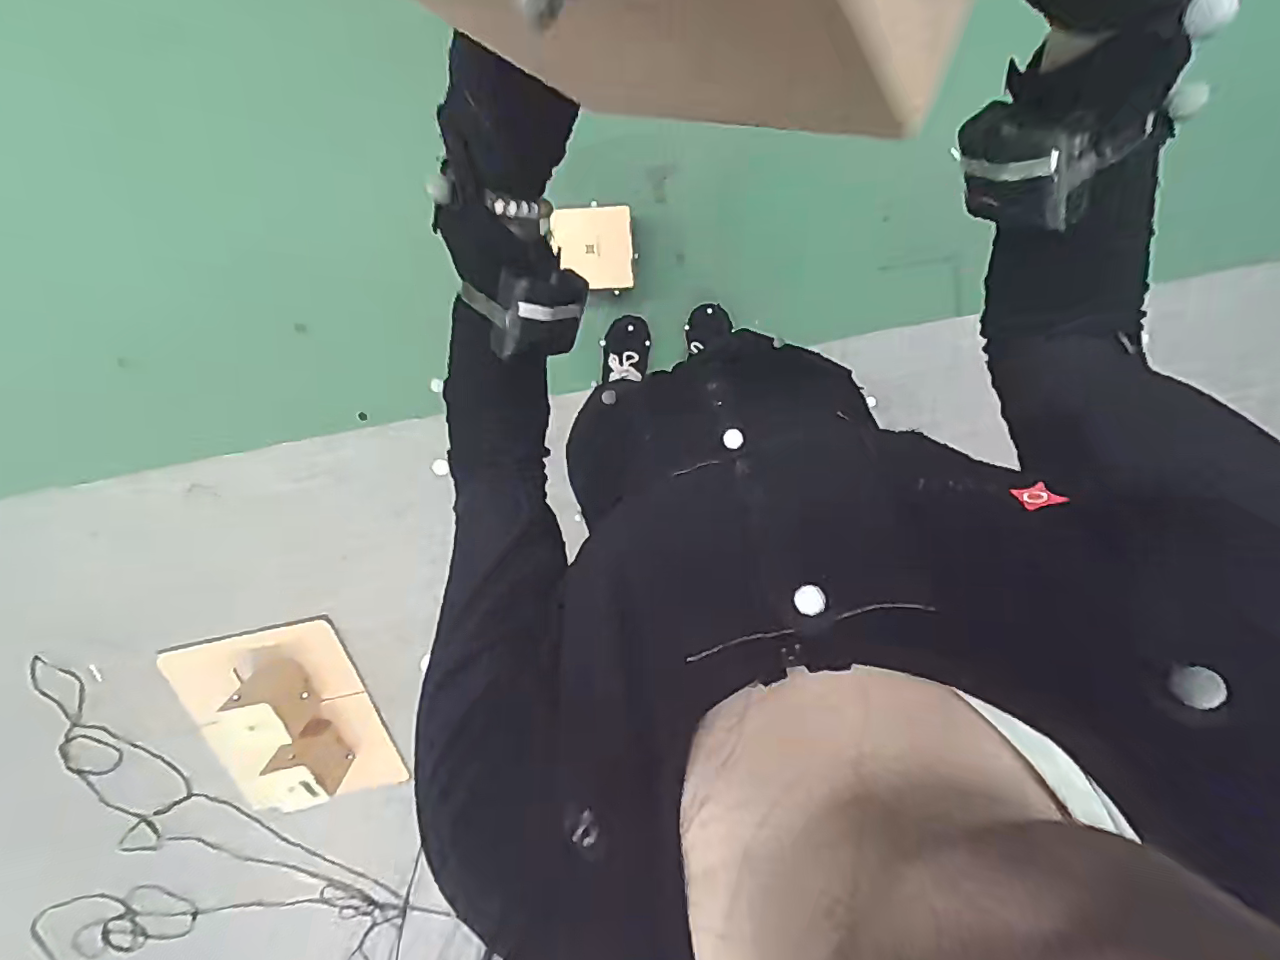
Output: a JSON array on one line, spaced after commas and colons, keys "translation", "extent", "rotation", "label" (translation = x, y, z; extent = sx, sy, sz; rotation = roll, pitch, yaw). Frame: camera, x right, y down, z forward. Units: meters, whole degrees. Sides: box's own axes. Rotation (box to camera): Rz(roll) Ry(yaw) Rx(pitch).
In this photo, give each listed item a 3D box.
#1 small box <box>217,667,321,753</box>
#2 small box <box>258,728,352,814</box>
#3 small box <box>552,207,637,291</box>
[{"translation": [-1.145, 0.711, 1.684], "extent": [0.179, 0.176, 0.168], "rotation": [-13, 110, 4], "label": "small box"}, {"translation": [-1.076, 0.941, 1.761], "extent": [0.179, 0.176, 0.168], "rotation": [-17, 109, 7], "label": "small box"}, {"translation": [-0.099, -0.528, 1.253], "extent": [0.179, 0.176, 0.168], "rotation": [-3, 109, 1], "label": "small box"}]
